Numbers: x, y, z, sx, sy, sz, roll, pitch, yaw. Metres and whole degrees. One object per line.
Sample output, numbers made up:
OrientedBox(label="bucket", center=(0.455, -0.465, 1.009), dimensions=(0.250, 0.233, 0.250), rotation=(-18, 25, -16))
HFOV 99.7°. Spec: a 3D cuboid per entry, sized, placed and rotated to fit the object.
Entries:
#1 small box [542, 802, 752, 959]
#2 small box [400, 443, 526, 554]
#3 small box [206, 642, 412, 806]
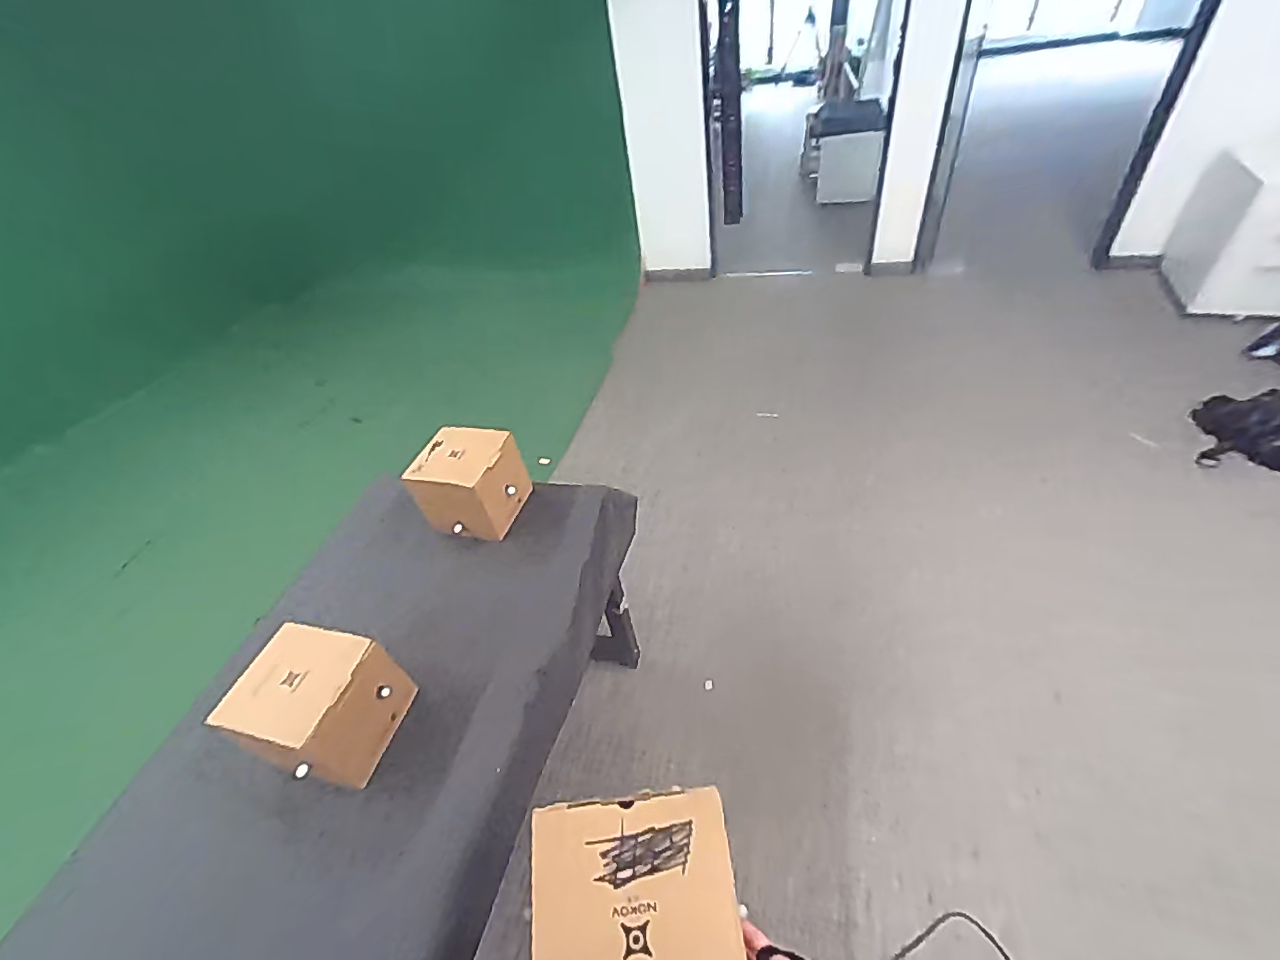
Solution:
OrientedBox(label="small box", center=(0.004, 0.410, 0.492), dimensions=(0.168, 0.176, 0.179), rotation=(-5, 56, -3))
OrientedBox(label="small box", center=(-0.368, 0.042, 1.169), dimensions=(0.179, 0.176, 0.168), rotation=(6, 45, 17))
OrientedBox(label="small box", center=(-0.490, 0.377, 0.834), dimensions=(0.179, 0.176, 0.168), rotation=(3, 43, 16))
